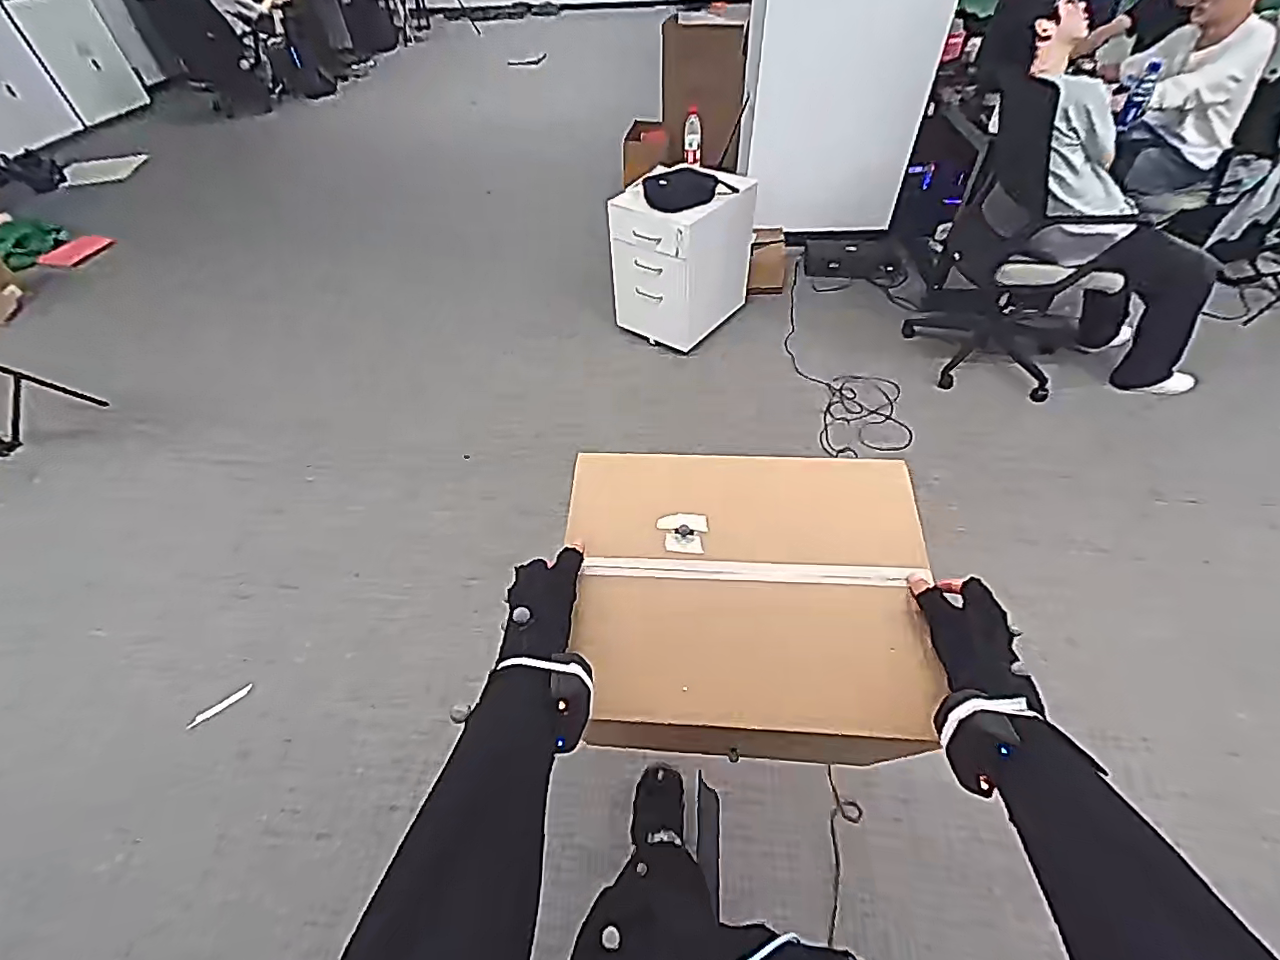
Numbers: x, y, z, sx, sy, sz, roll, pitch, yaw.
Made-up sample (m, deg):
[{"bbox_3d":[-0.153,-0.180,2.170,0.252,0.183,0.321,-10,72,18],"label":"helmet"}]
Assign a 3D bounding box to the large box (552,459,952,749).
[{"bbox_3d":[0.126,0.181,0.741,0.408,0.320,0.320,1,58,5],"label":"large box"}]
